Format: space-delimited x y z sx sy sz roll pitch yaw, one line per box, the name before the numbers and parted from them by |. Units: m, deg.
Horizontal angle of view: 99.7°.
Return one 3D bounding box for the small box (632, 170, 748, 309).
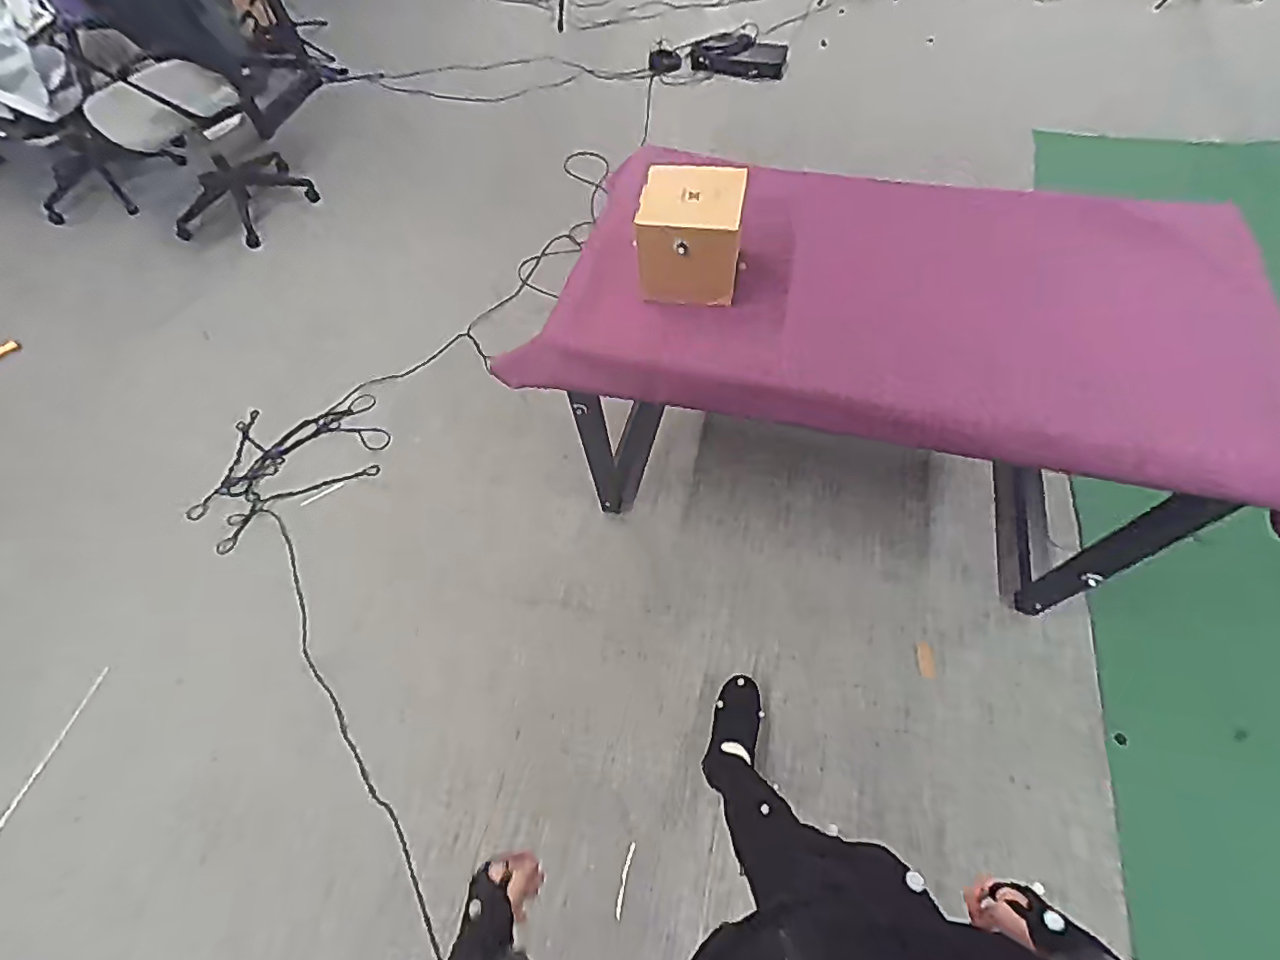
small box | 0.094 -0.433 0.985 0.179 0.176 0.168 8 62 9
